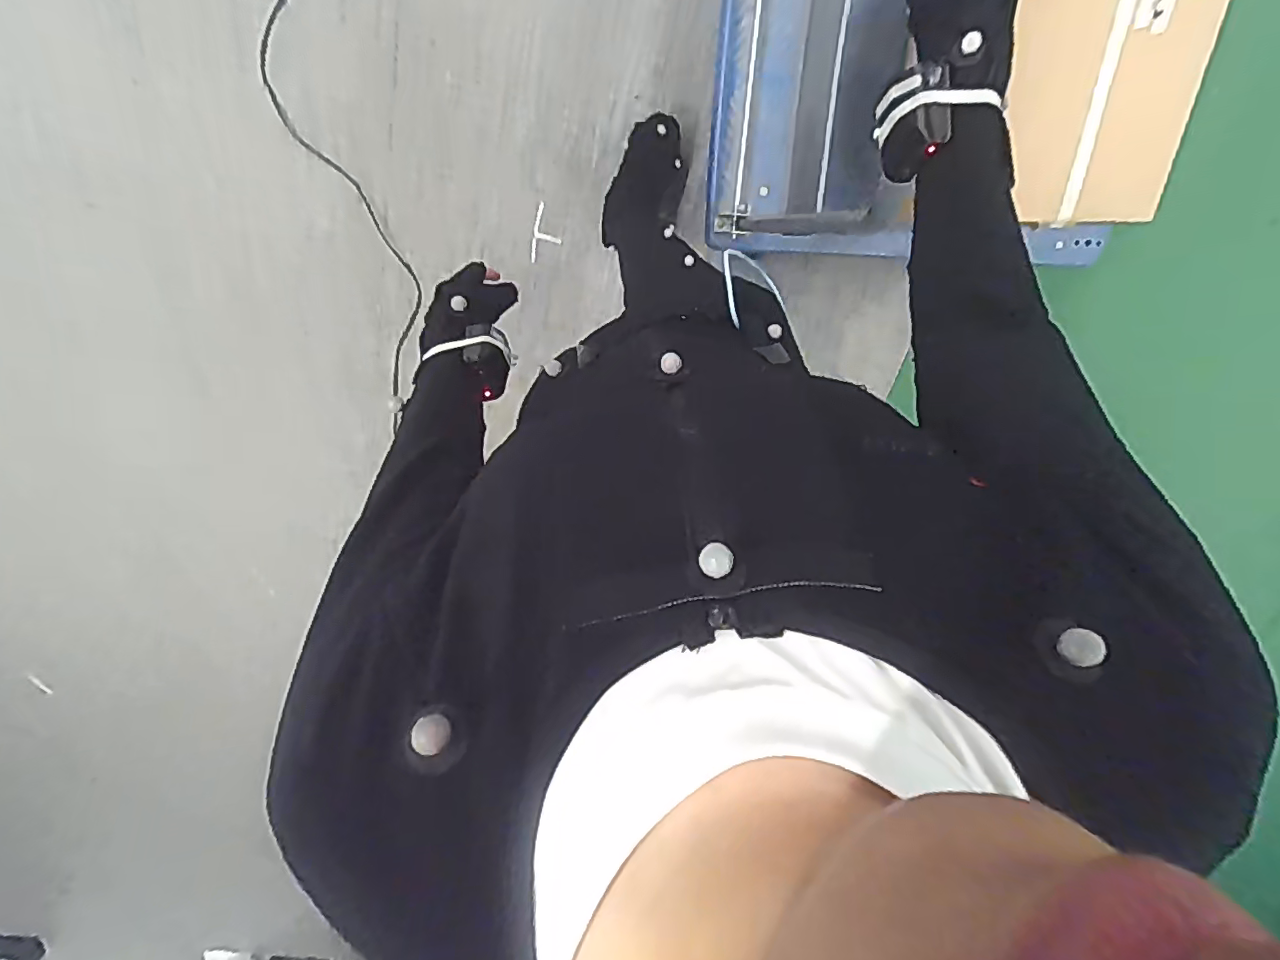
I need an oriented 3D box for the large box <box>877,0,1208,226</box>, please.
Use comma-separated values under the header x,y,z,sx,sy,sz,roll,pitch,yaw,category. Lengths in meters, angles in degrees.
x,y,z,sx,sy,sz,roll,pitch,yaw,category
0.647,-0.664,0.925,0.320,0.320,0.408,-1,113,-4,large box
